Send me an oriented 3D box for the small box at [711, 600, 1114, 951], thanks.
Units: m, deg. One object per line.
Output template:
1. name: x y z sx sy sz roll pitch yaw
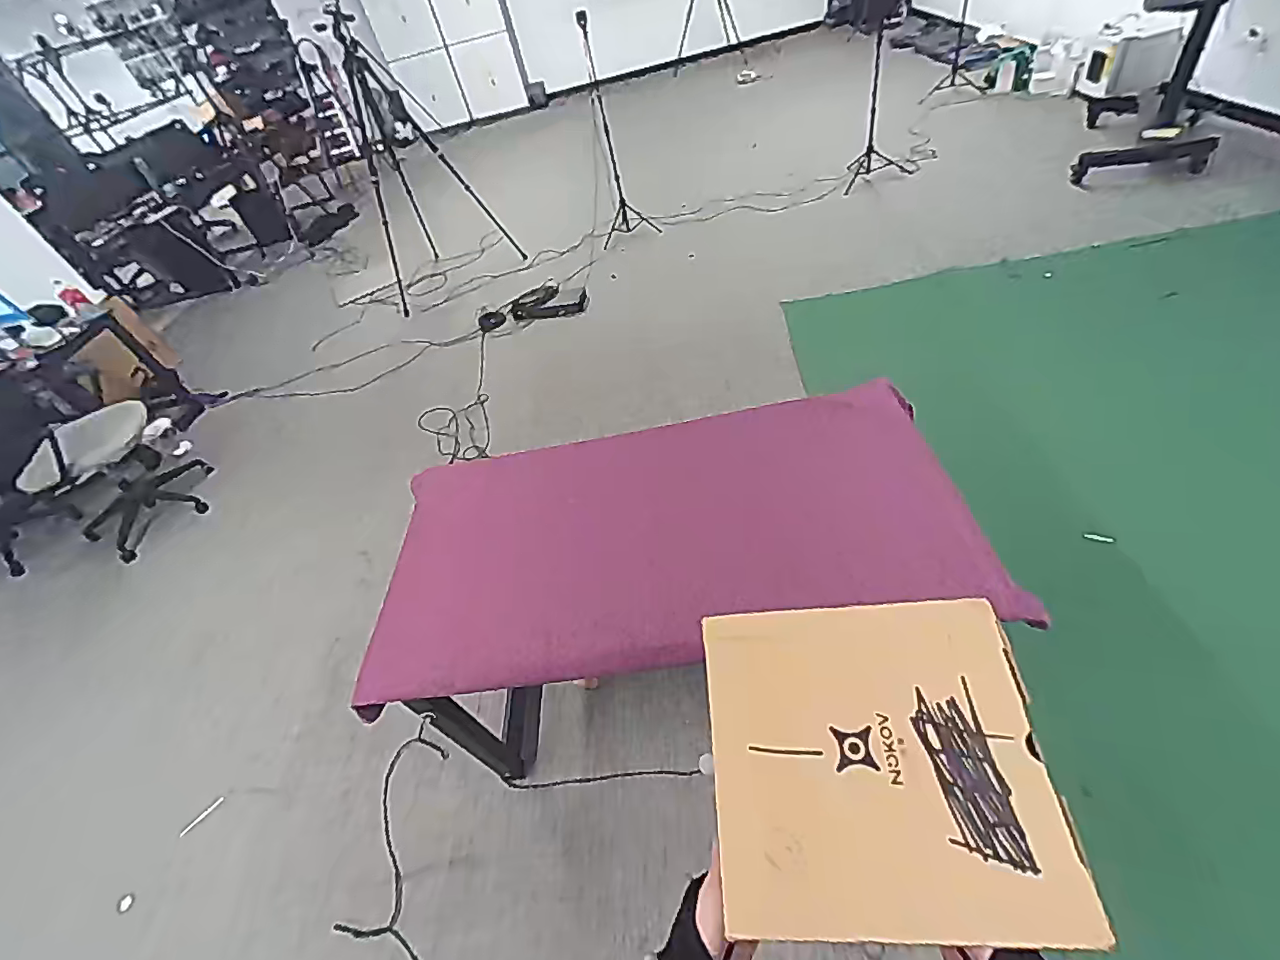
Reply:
1. small box: 0.144 0.189 0.363 0.179 0.176 0.168 -6 57 9
